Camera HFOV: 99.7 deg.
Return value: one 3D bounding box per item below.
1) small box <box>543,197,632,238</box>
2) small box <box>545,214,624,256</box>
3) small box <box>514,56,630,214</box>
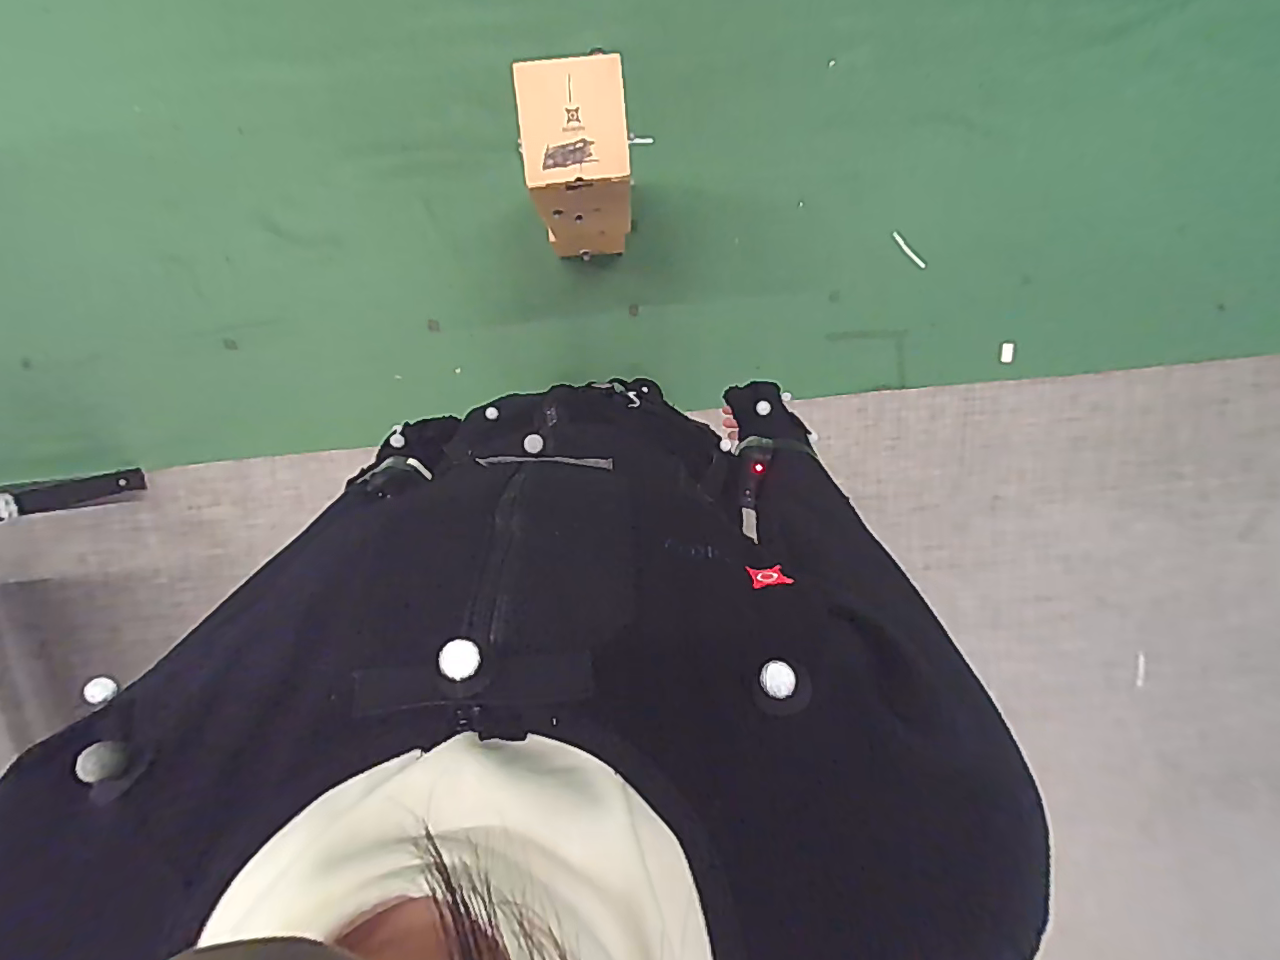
[{"bbox_3d":[-0.107,-0.592,1.066,0.168,0.176,0.179,-5,100,0],"label":"small box"},{"bbox_3d":[-0.121,-0.613,1.210,0.168,0.176,0.179,-2,101,0],"label":"small box"},{"bbox_3d":[-0.104,-0.560,0.905,0.168,0.176,0.179,-5,100,-1],"label":"small box"}]
